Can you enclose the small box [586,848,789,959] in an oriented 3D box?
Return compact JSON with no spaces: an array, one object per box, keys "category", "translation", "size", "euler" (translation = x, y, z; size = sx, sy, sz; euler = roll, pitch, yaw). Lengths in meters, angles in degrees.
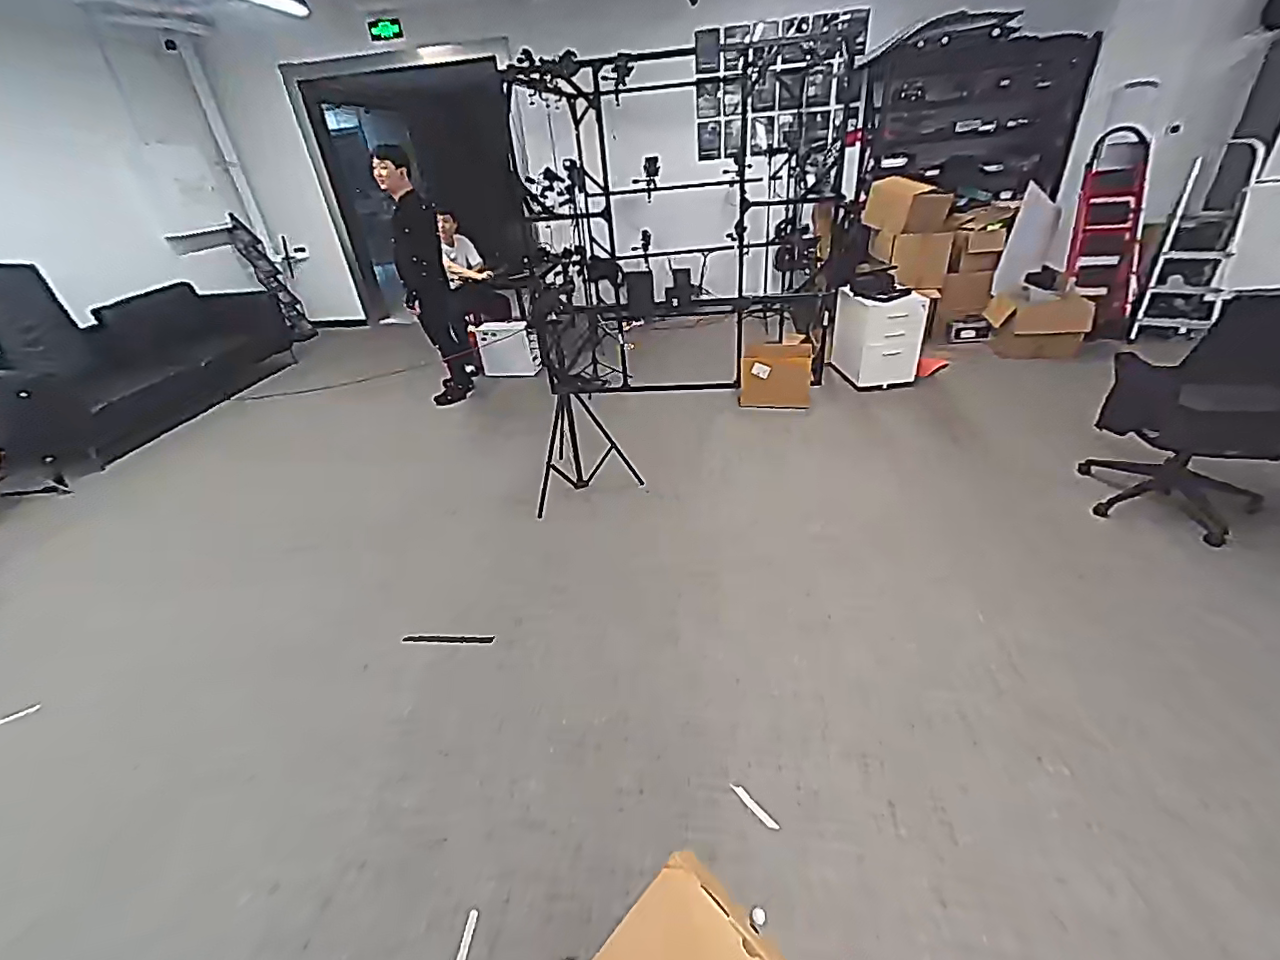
[{"category":"small box","translation":[0.040,0.451,0.453],"size":[0.168,0.176,0.179],"euler":[37,68,29]}]
